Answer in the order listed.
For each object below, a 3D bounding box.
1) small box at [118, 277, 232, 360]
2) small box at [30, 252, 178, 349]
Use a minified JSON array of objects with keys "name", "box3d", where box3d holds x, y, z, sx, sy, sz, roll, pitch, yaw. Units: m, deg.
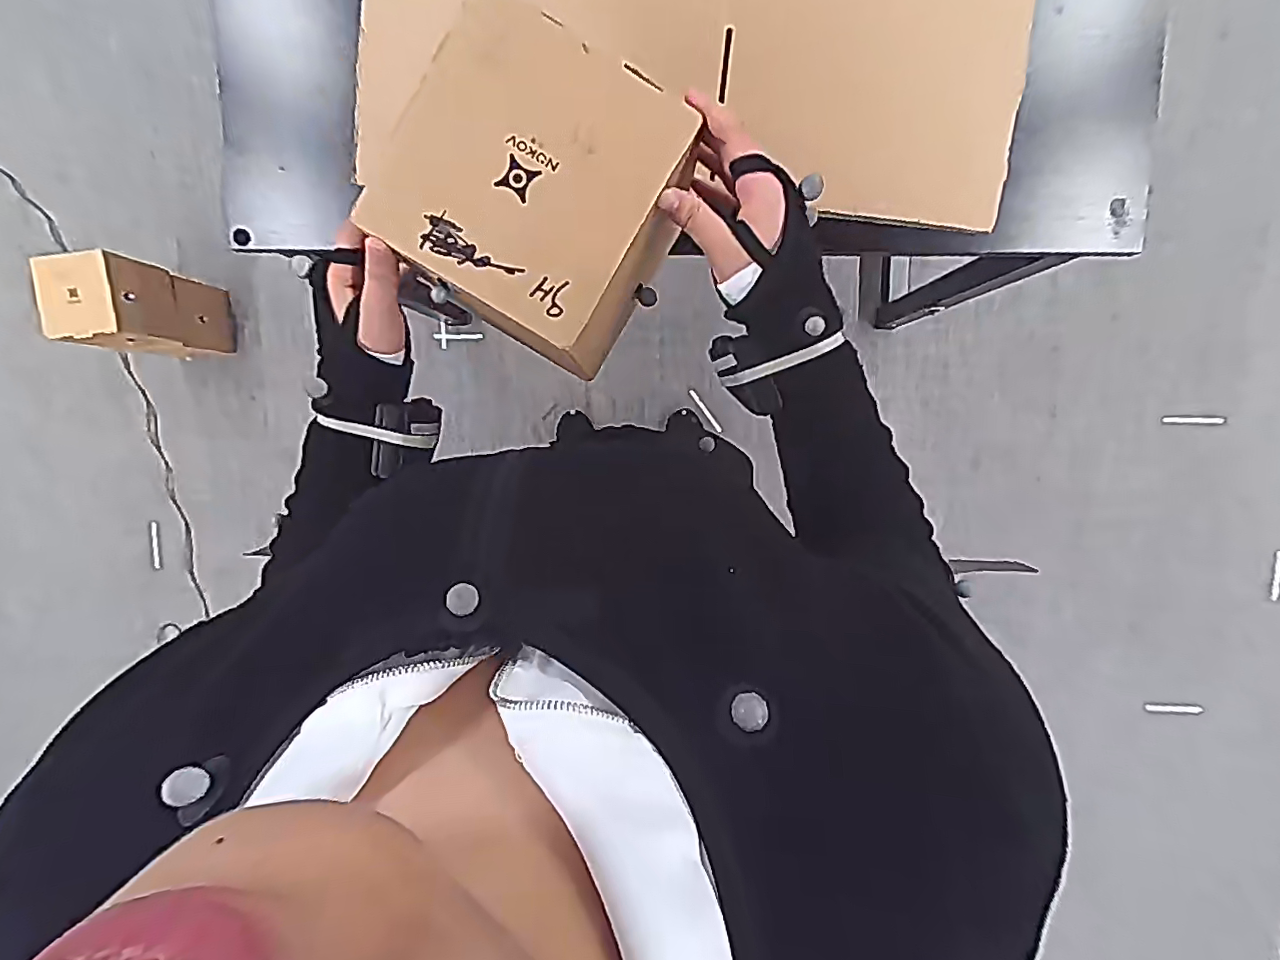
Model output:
[{"name":"small box","box3d":[-1.206,-0.414,1.402,0.168,0.176,0.179,-3,97,2]},{"name":"small box","box3d":[-1.213,-0.402,1.239,0.168,0.176,0.179,-6,95,2]}]
